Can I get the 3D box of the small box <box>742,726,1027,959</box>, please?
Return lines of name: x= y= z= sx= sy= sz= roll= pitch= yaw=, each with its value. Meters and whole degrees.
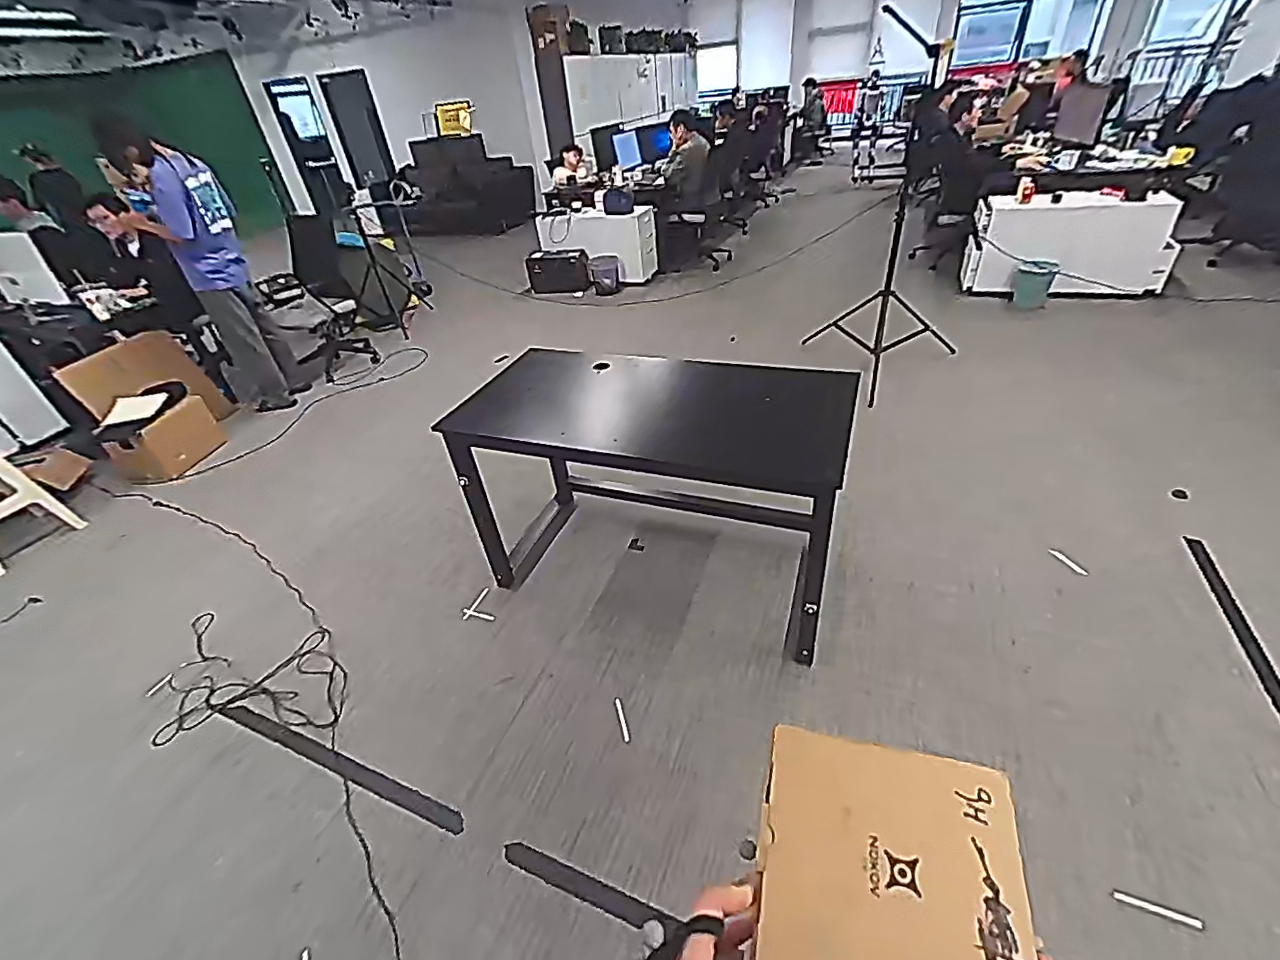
small box: x=0.181 y=0.329 z=0.442 sx=0.179 sy=0.176 sz=0.168 roll=6 pitch=50 yaw=15
